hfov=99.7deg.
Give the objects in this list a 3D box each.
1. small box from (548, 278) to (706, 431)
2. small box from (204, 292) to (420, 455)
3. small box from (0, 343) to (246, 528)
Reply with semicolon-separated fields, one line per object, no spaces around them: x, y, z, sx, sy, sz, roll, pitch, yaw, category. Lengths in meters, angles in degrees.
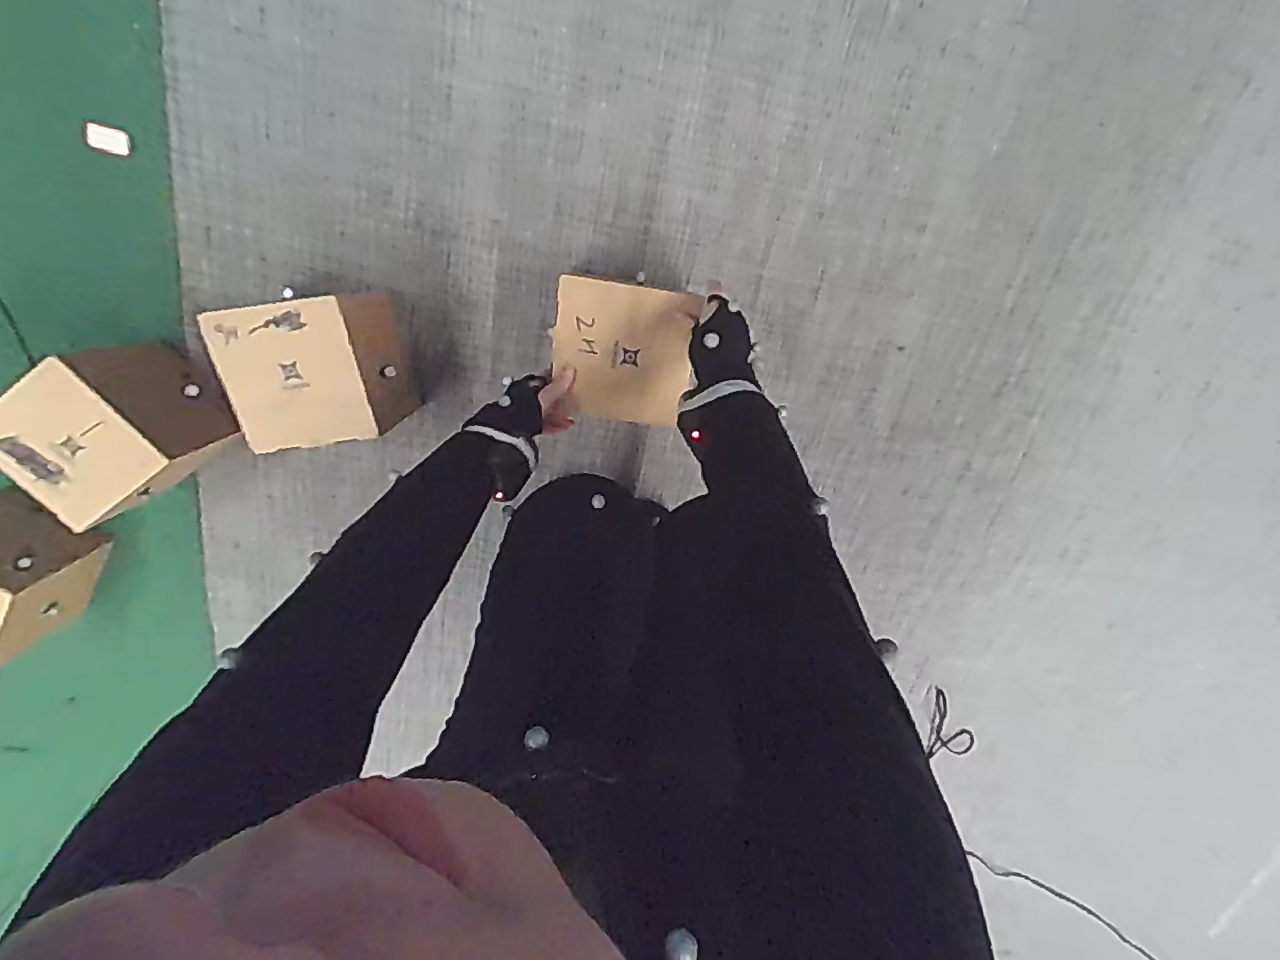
-0.023;-0.178;0.741;0.179;0.176;0.168;8;111;-6;small box
-0.420;-0.150;0.732;0.168;0.176;0.179;-7;112;0;small box
-0.707;-0.069;0.748;0.179;0.176;0.168;-32;109;9;small box
